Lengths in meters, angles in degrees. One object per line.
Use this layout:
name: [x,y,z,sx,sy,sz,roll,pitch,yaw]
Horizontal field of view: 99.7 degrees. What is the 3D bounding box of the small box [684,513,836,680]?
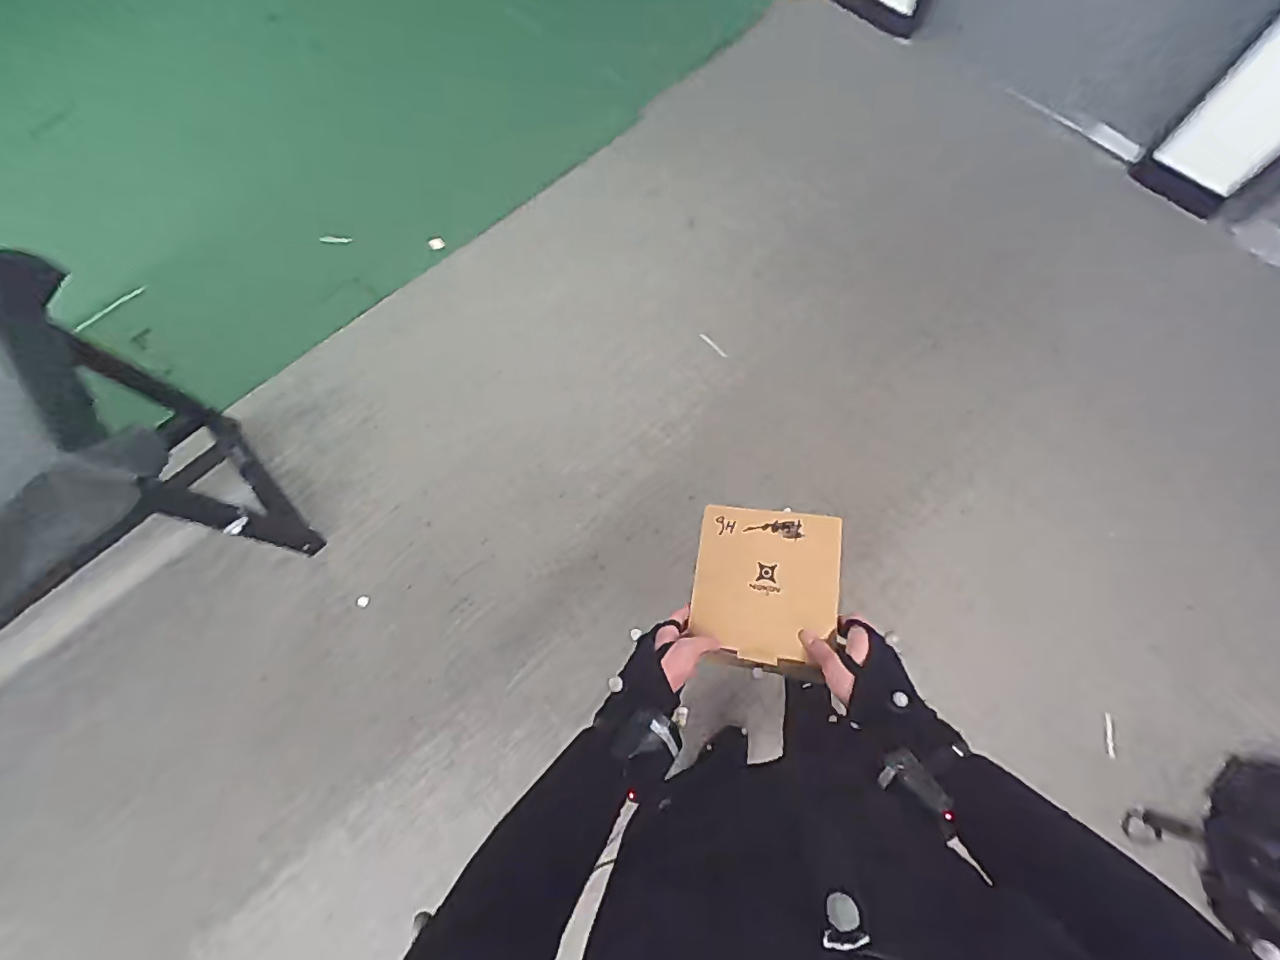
small box: [0.160,0.159,0.710,0.168,0.176,0.179,4,68,14]
